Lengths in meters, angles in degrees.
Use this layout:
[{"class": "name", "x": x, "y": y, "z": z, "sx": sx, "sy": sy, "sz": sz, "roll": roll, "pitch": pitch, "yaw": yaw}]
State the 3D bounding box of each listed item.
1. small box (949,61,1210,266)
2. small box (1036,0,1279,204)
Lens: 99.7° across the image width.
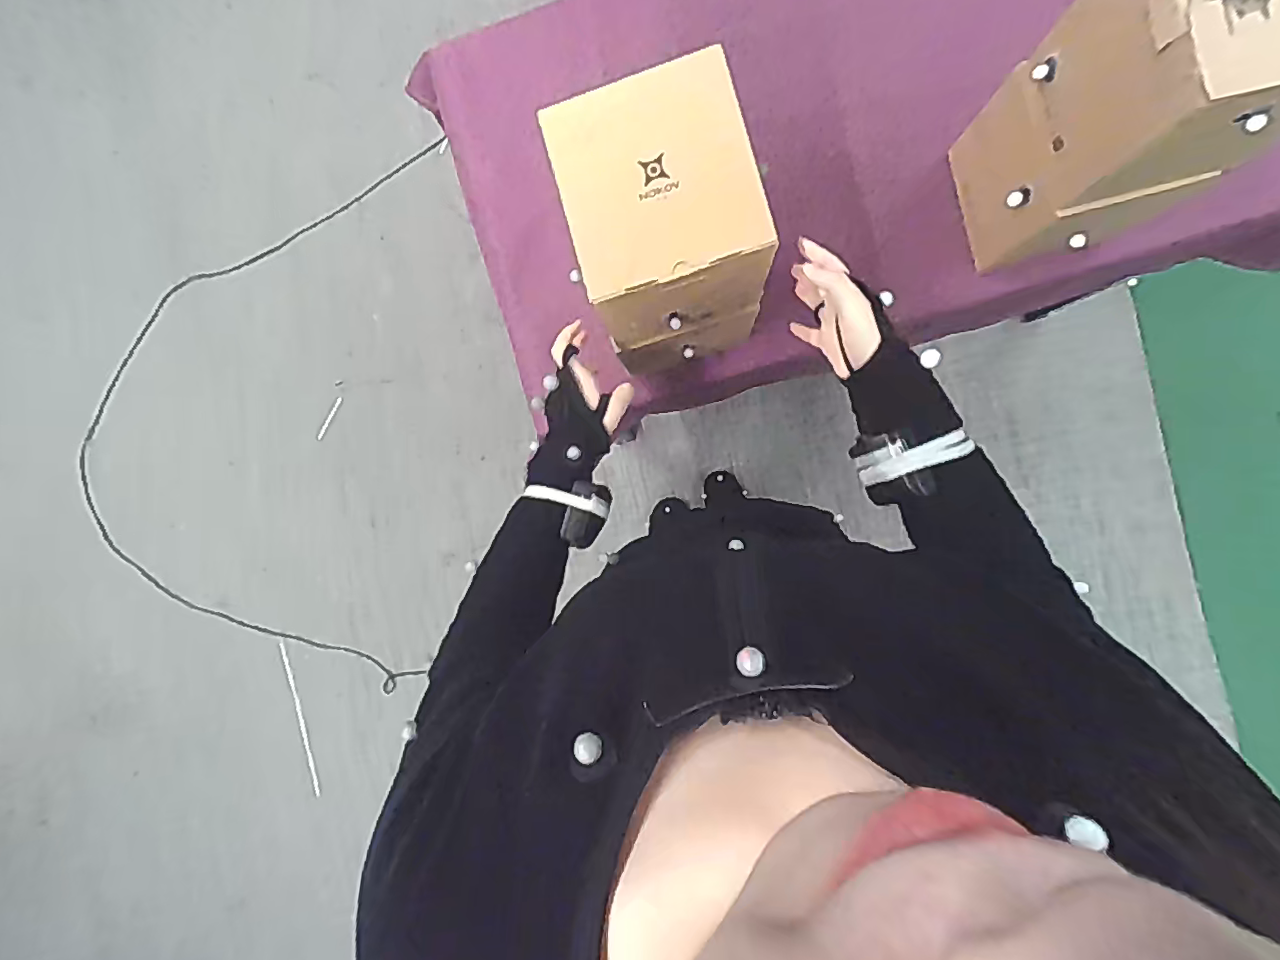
[{"class": "small box", "x": 0.509, "y": -0.380, "z": 0.655, "sx": 0.168, "sy": 0.176, "sz": 0.179, "roll": -13, "pitch": 89, "yaw": 5}, {"class": "small box", "x": 0.501, "y": -0.383, "z": 0.490, "sx": 0.179, "sy": 0.176, "sz": 0.168, "roll": -12, "pitch": 90, "yaw": 5}]
